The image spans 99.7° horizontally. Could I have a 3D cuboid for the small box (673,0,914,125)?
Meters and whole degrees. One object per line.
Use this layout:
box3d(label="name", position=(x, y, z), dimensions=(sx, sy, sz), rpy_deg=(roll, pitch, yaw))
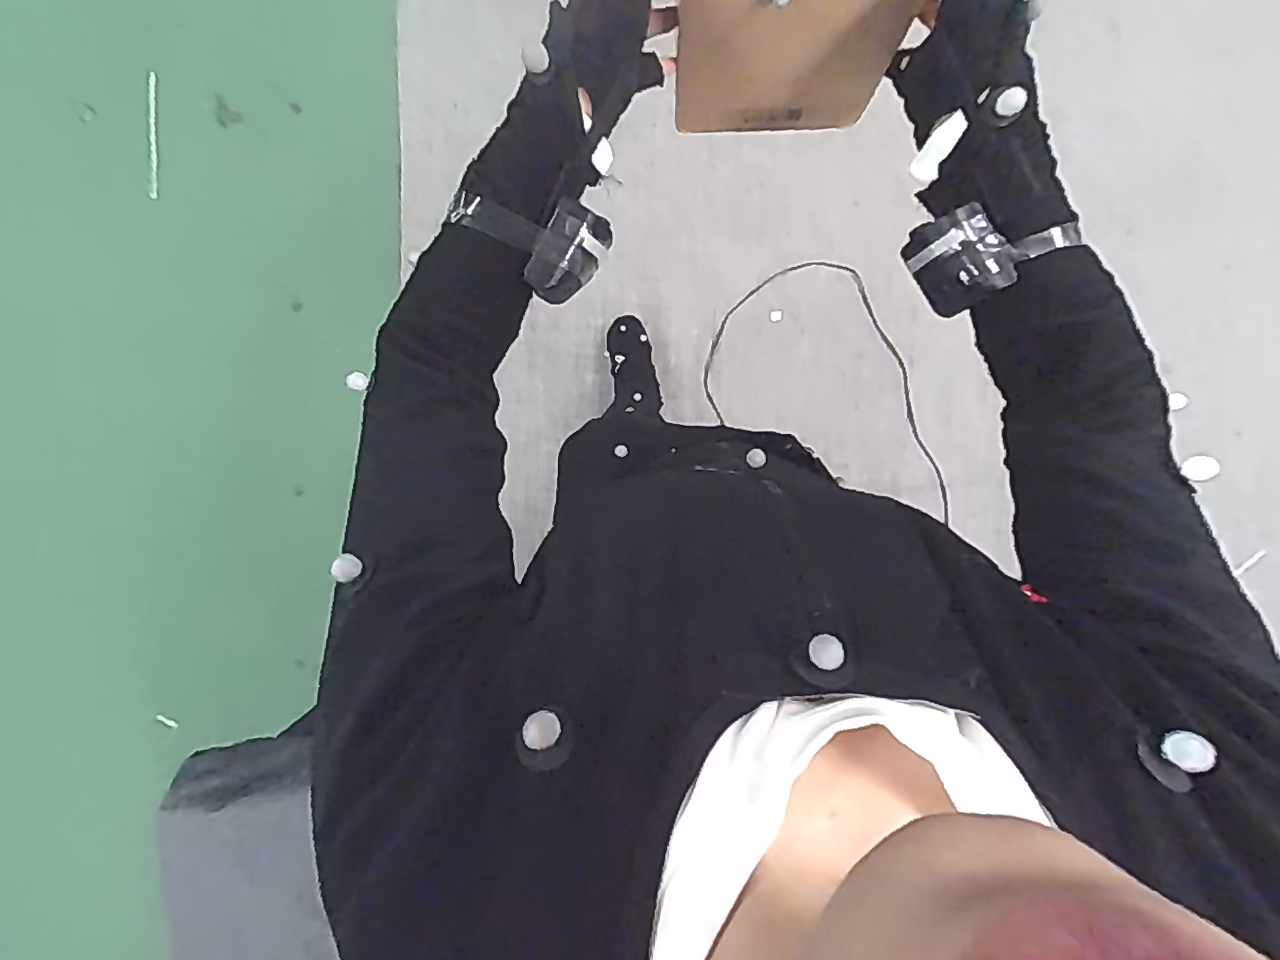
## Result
box3d(label="small box", position=(0.111, -0.416, 0.417), dimensions=(0.168, 0.176, 0.179), rpy_deg=(0, 87, 2))
